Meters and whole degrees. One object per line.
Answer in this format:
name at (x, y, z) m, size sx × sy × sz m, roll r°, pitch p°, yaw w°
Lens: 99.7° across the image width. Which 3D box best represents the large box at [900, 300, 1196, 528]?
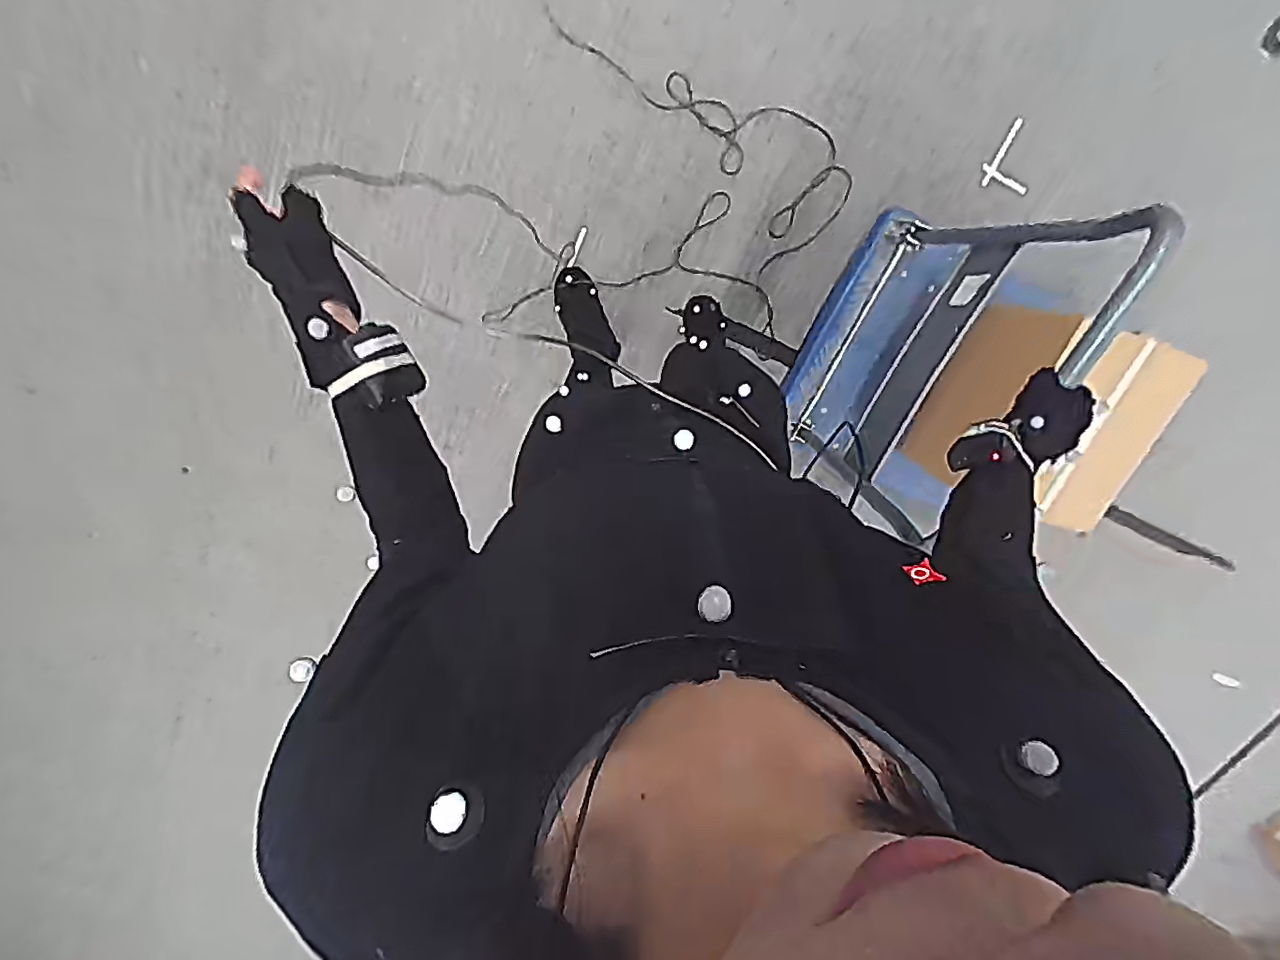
large box at (0.890, -0.161, 1.244) m, size 0.320 × 0.320 × 0.408 m, roll 14°, pitch 112°, yaw -11°
